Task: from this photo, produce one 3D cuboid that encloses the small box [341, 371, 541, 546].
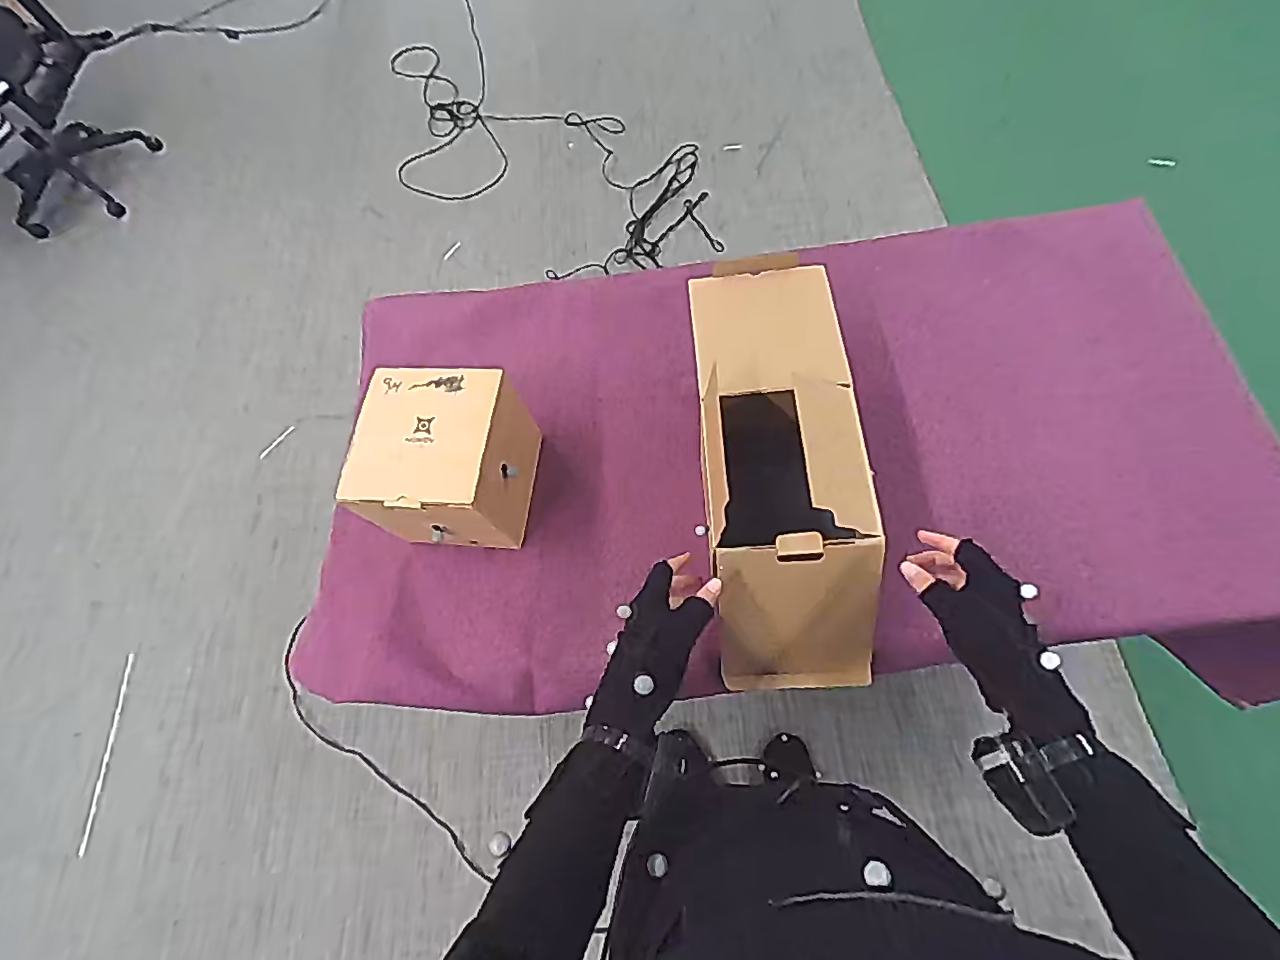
[{"bbox_3d":[-0.237,-0.021,0.693,0.168,0.176,0.179,3,68,8],"label":"small box"}]
